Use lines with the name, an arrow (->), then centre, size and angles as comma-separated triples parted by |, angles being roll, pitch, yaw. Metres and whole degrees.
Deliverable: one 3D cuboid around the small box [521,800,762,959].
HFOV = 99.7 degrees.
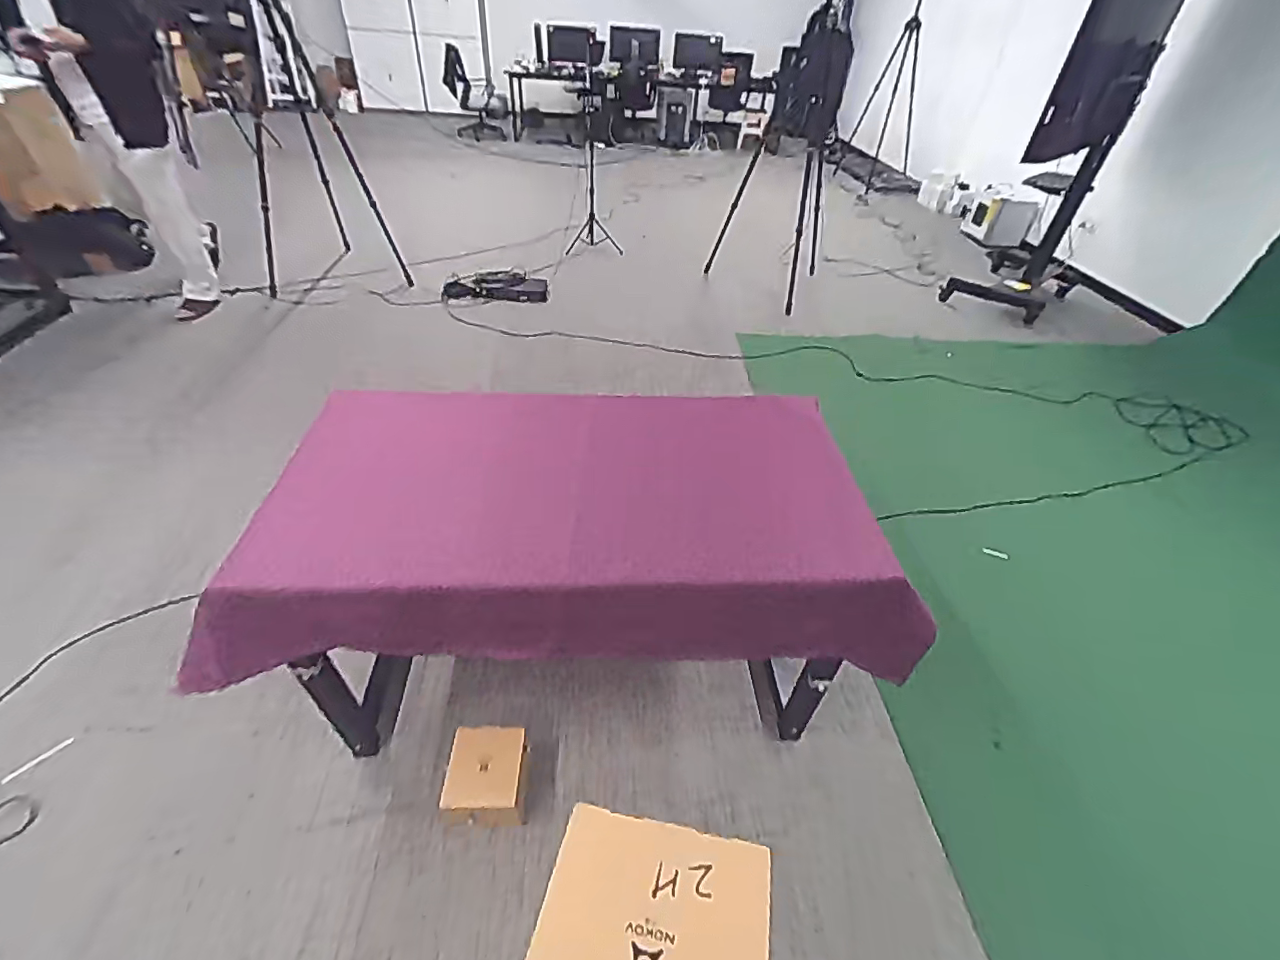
small box -> 0.002, 0.404, 0.433 | 0.168, 0.176, 0.179 | 7, 33, 12
